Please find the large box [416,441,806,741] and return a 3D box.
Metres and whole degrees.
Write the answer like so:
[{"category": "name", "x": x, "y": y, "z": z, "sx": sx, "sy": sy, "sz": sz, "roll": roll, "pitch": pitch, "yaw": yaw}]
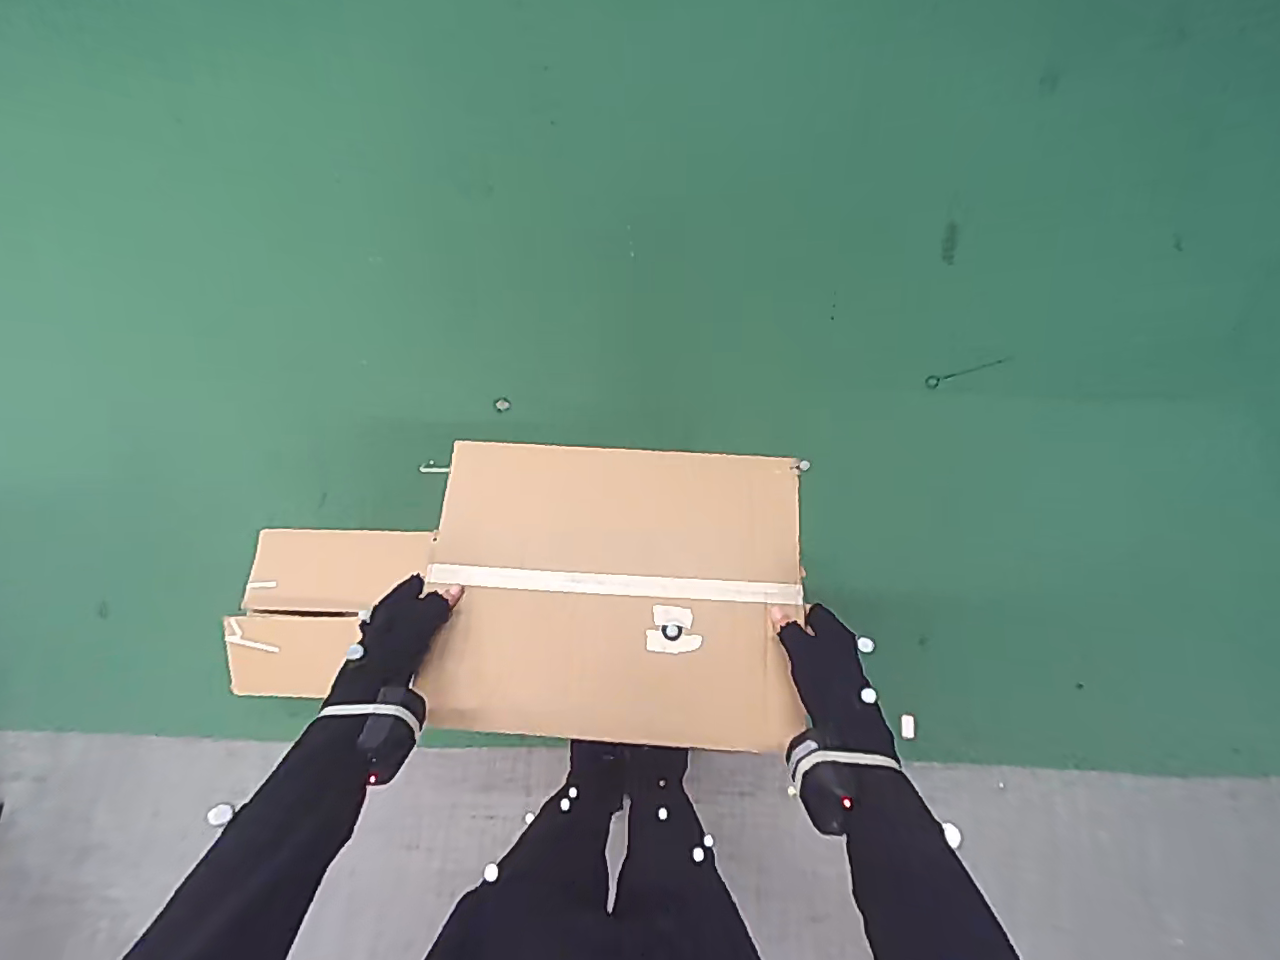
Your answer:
[{"category": "large box", "x": -0.025, "y": 0.152, "z": 0.729, "sx": 0.408, "sy": 0.320, "sz": 0.320, "roll": 3, "pitch": 73, "yaw": 2}]
